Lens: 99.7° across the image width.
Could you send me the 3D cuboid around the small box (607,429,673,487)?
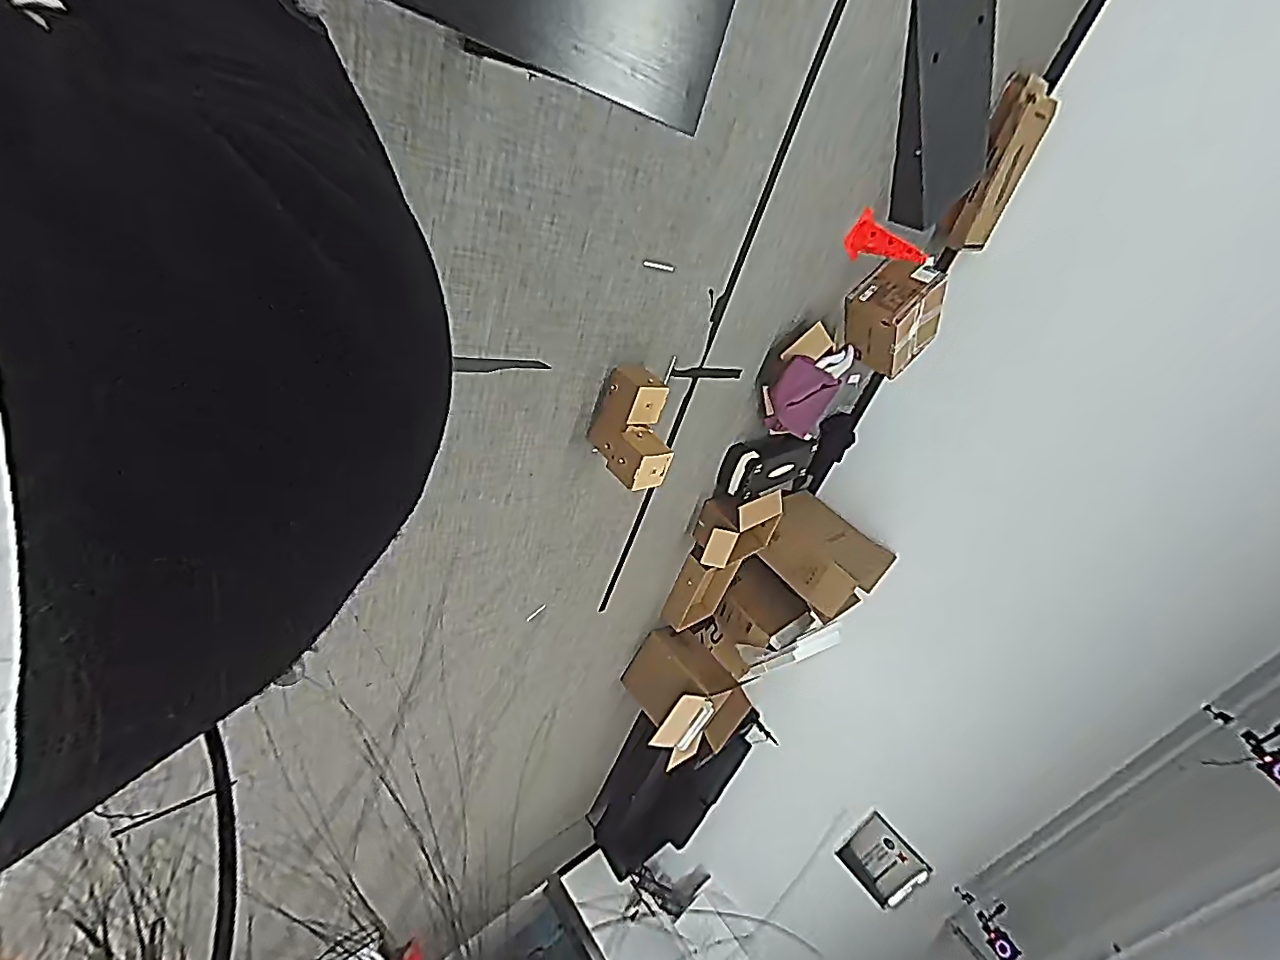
[{"bbox_3d":[-0.006,-0.091,2.167,0.179,0.176,0.168,-9,131,-43],"label":"small box"}]
